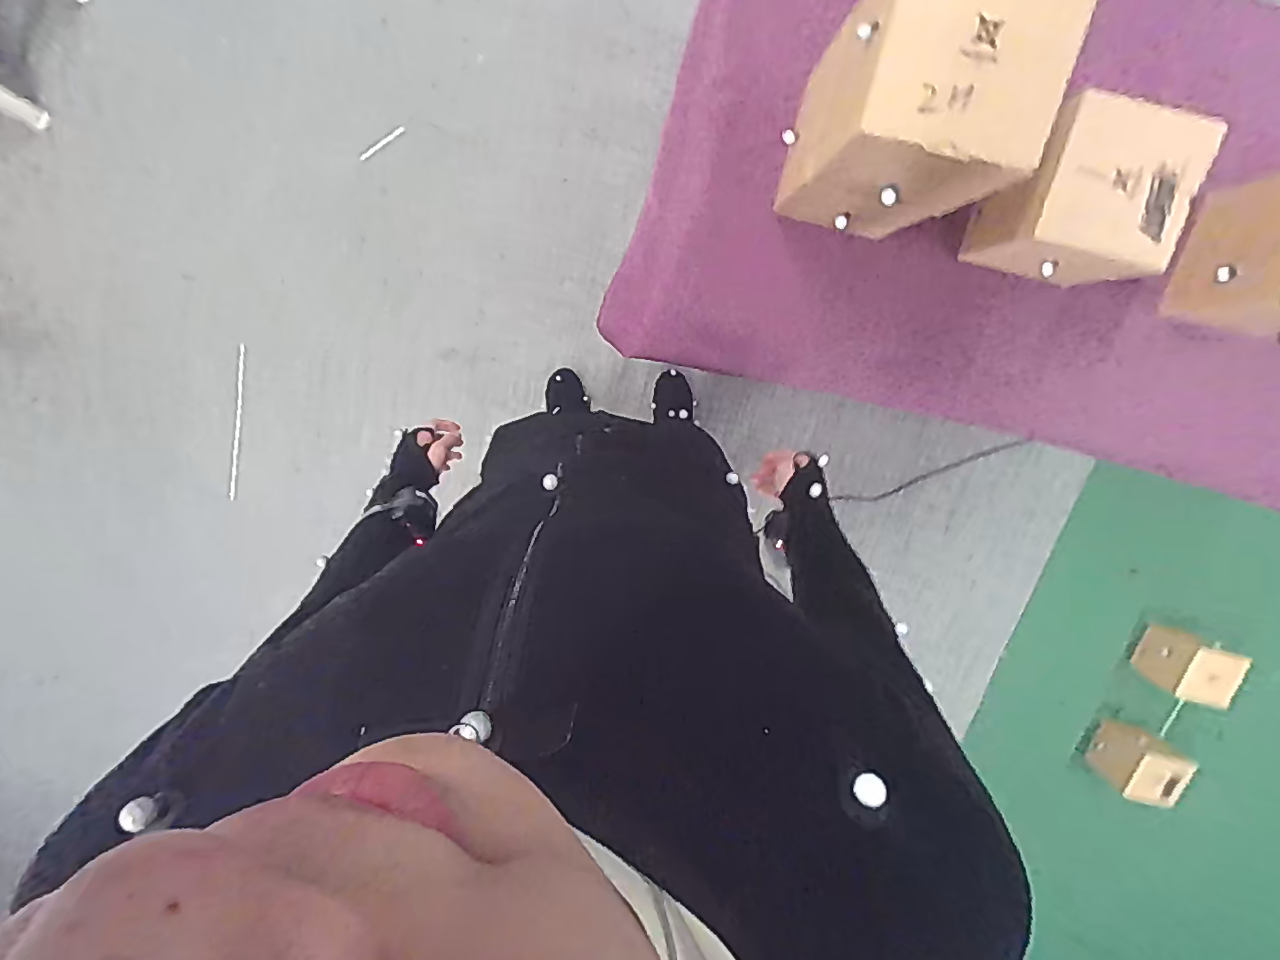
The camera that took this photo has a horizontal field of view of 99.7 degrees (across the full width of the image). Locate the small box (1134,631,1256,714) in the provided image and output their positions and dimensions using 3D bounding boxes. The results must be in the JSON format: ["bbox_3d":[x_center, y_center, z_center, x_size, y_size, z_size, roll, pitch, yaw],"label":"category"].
[{"bbox_3d":[1.714,0.591,1.683,0.179,0.176,0.168,13,103,-4],"label":"small box"}]

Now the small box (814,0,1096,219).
[{"bbox_3d":[0.293,-0.388,0.542,0.168,0.176,0.179,12,104,-2],"label":"small box"}]

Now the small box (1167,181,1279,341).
[{"bbox_3d":[0.888,-0.292,0.732,0.168,0.176,0.179,13,103,-3],"label":"small box"}]

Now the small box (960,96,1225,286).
[{"bbox_3d":[0.575,-0.363,0.717,0.179,0.176,0.168,13,103,-2],"label":"small box"}]

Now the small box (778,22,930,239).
[{"bbox_3d":[0.292,-0.430,0.702,0.168,0.176,0.179,12,104,-4],"label":"small box"}]
